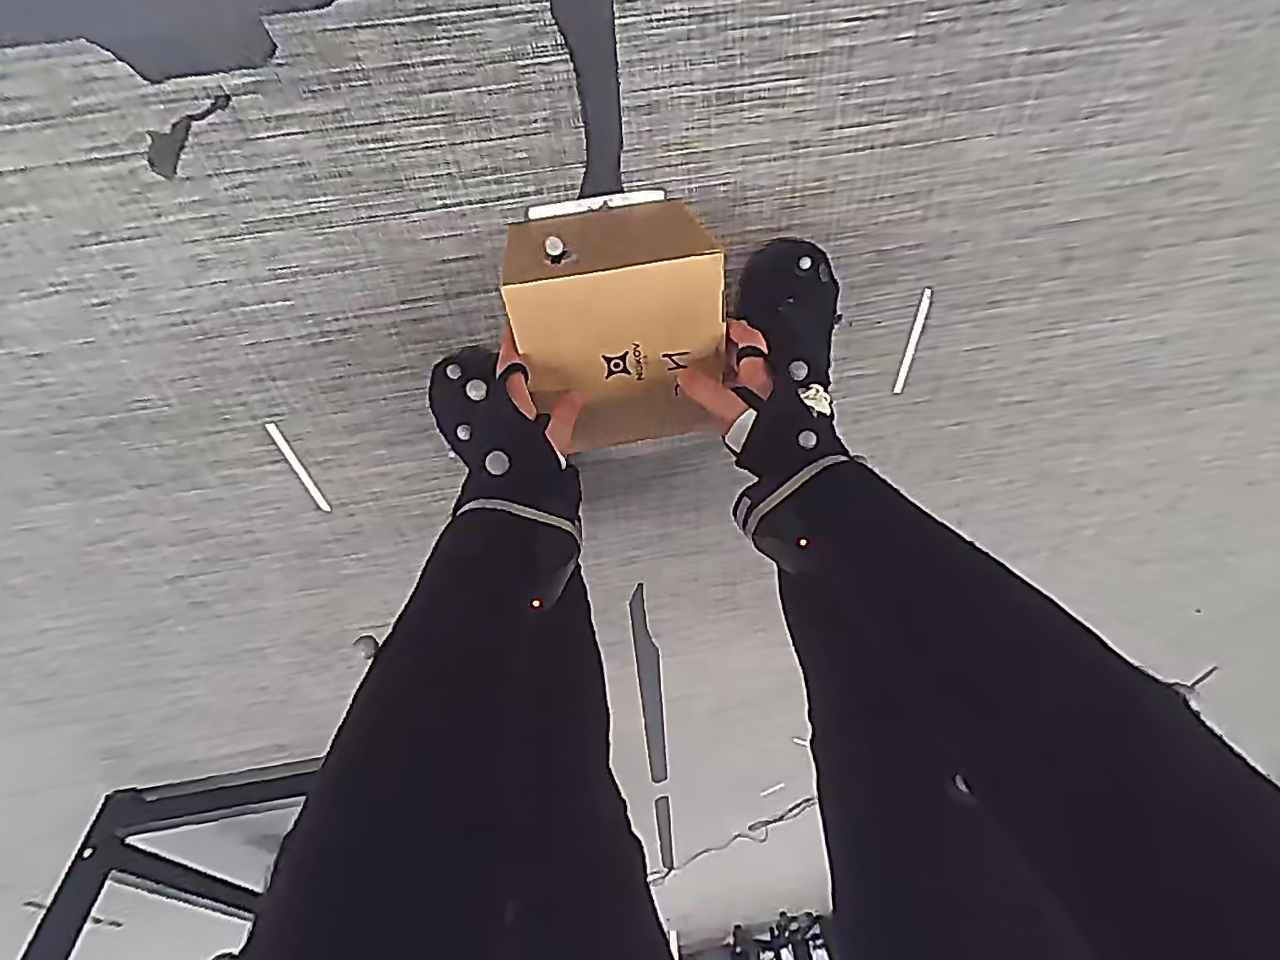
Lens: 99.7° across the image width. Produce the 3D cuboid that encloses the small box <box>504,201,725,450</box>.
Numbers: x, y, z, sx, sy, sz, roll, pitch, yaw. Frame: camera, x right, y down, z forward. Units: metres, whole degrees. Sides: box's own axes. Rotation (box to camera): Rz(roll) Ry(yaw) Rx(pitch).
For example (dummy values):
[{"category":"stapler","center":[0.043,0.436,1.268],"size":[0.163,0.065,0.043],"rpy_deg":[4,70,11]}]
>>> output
[{"category":"small box","center":[-0.024,-0.155,0.526],"size":[0.179,0.176,0.168],"rpy_deg":[-10,132,-3]}]
